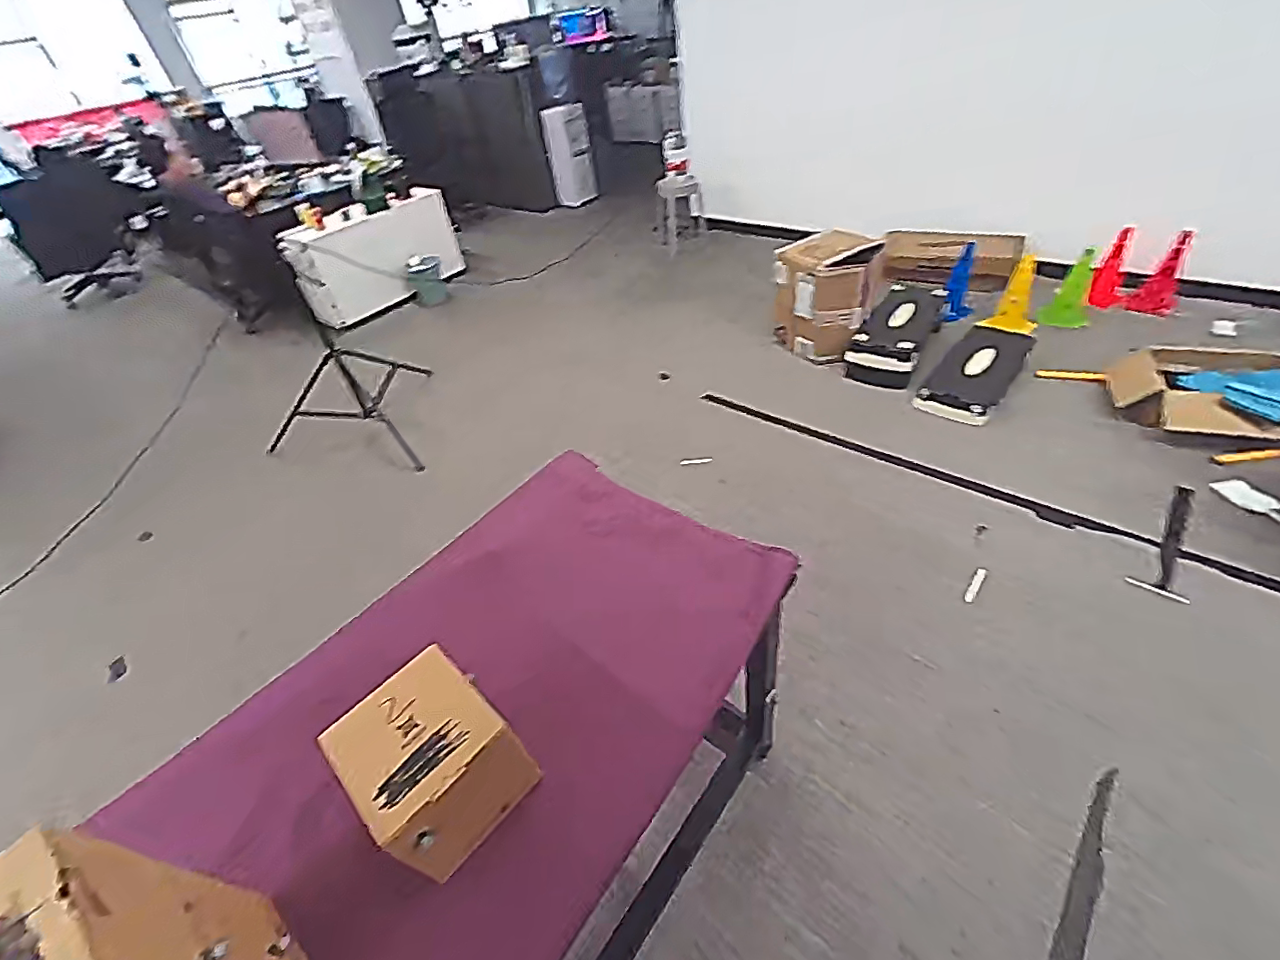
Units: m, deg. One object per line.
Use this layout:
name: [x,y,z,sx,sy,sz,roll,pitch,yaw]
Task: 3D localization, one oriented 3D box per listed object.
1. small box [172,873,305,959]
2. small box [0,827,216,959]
small box: [-0.463,0.550,0.537,0.168,0.176,0.179,22,50,30]
small box: [-0.479,0.430,0.426,0.168,0.176,0.179,21,50,31]
